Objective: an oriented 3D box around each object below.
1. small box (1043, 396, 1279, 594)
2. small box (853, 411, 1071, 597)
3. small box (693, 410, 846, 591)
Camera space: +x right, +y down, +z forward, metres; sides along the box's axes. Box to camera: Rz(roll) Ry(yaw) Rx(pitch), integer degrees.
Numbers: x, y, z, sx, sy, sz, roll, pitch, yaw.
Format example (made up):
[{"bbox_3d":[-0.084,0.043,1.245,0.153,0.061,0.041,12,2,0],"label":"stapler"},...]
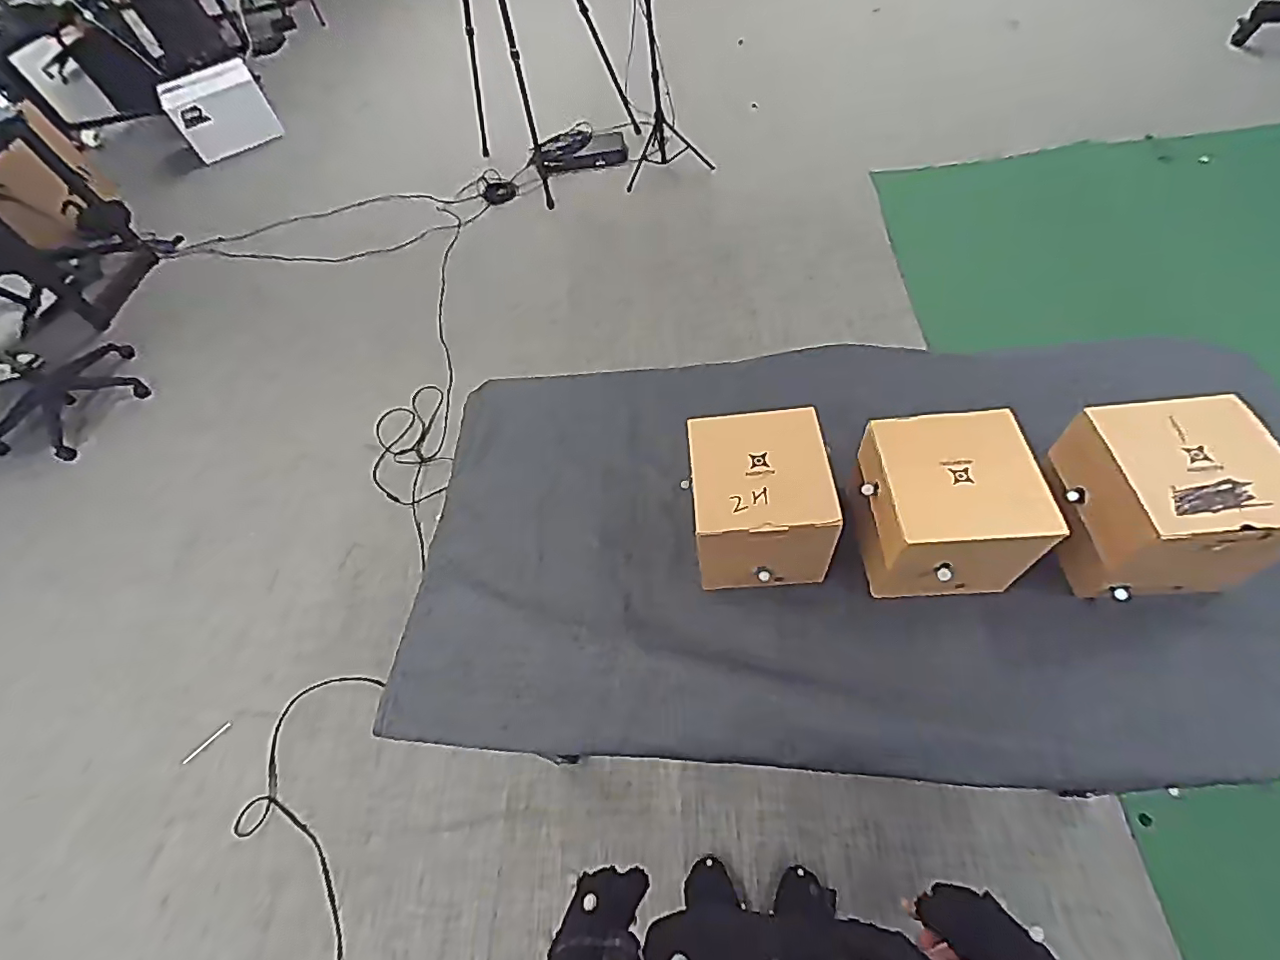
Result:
[{"bbox_3d":[0.616,0.027,0.640,0.168,0.176,0.179,-5,55,7],"label":"small box"},{"bbox_3d":[0.379,0.039,0.678,0.168,0.176,0.179,-5,55,7],"label":"small box"},{"bbox_3d":[0.159,0.032,0.719,0.168,0.176,0.179,-5,56,7],"label":"small box"}]
